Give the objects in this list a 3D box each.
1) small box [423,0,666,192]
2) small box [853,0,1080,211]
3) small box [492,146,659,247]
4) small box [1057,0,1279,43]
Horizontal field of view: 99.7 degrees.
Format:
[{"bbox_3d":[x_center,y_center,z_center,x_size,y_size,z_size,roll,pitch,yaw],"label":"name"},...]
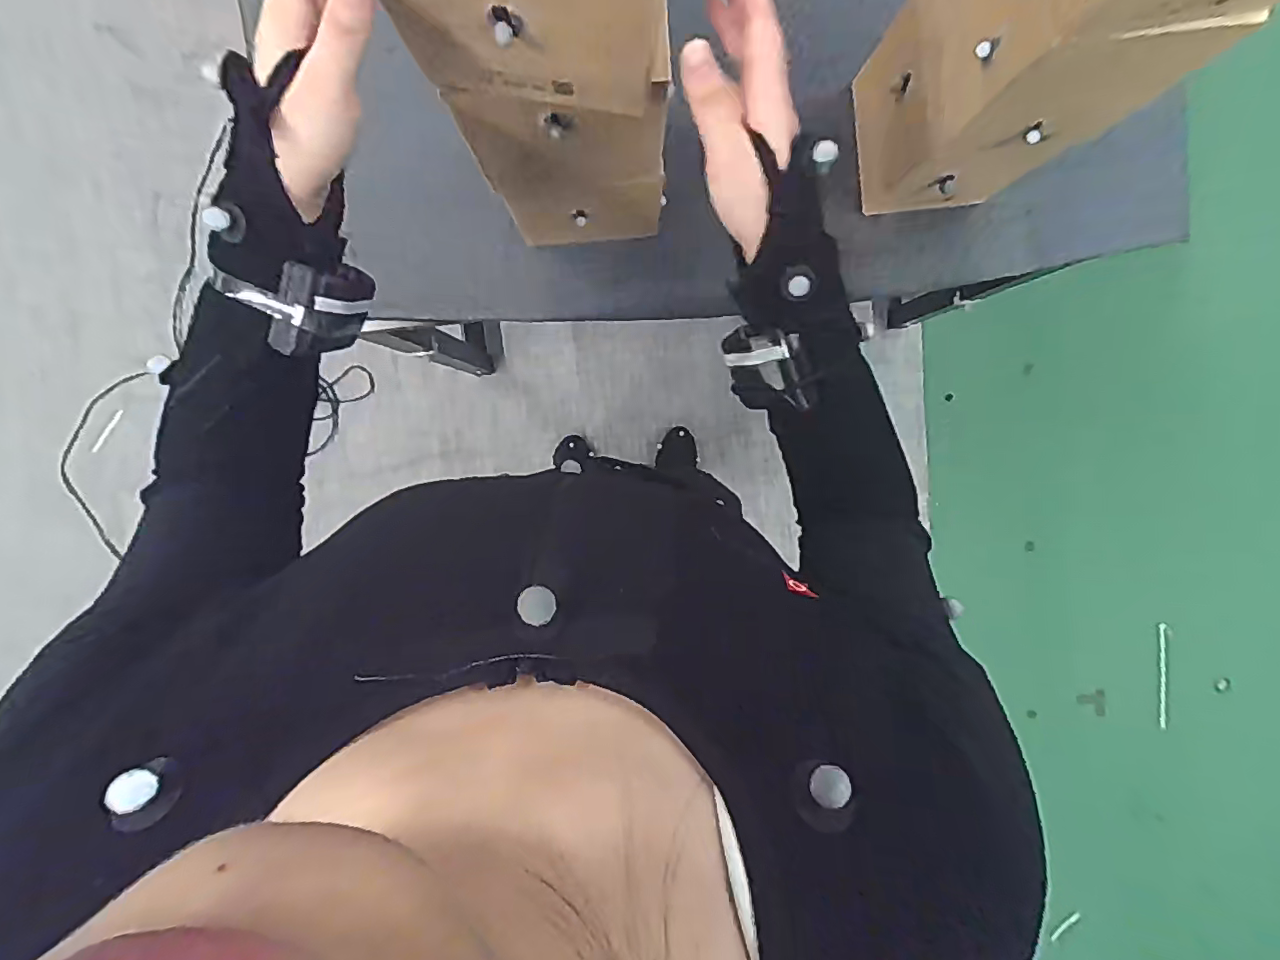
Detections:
[{"bbox_3d":[-0.074,-0.371,0.470,0.179,0.176,0.168,-5,96,-2],"label":"small box"},{"bbox_3d":[0.368,-0.436,0.635,0.168,0.176,0.179,-6,94,-1],"label":"small box"},{"bbox_3d":[-0.075,-0.388,0.631,0.179,0.176,0.168,-5,95,0],"label":"small box"},{"bbox_3d":[0.371,-0.408,0.308,0.168,0.176,0.179,-10,94,0],"label":"small box"}]
